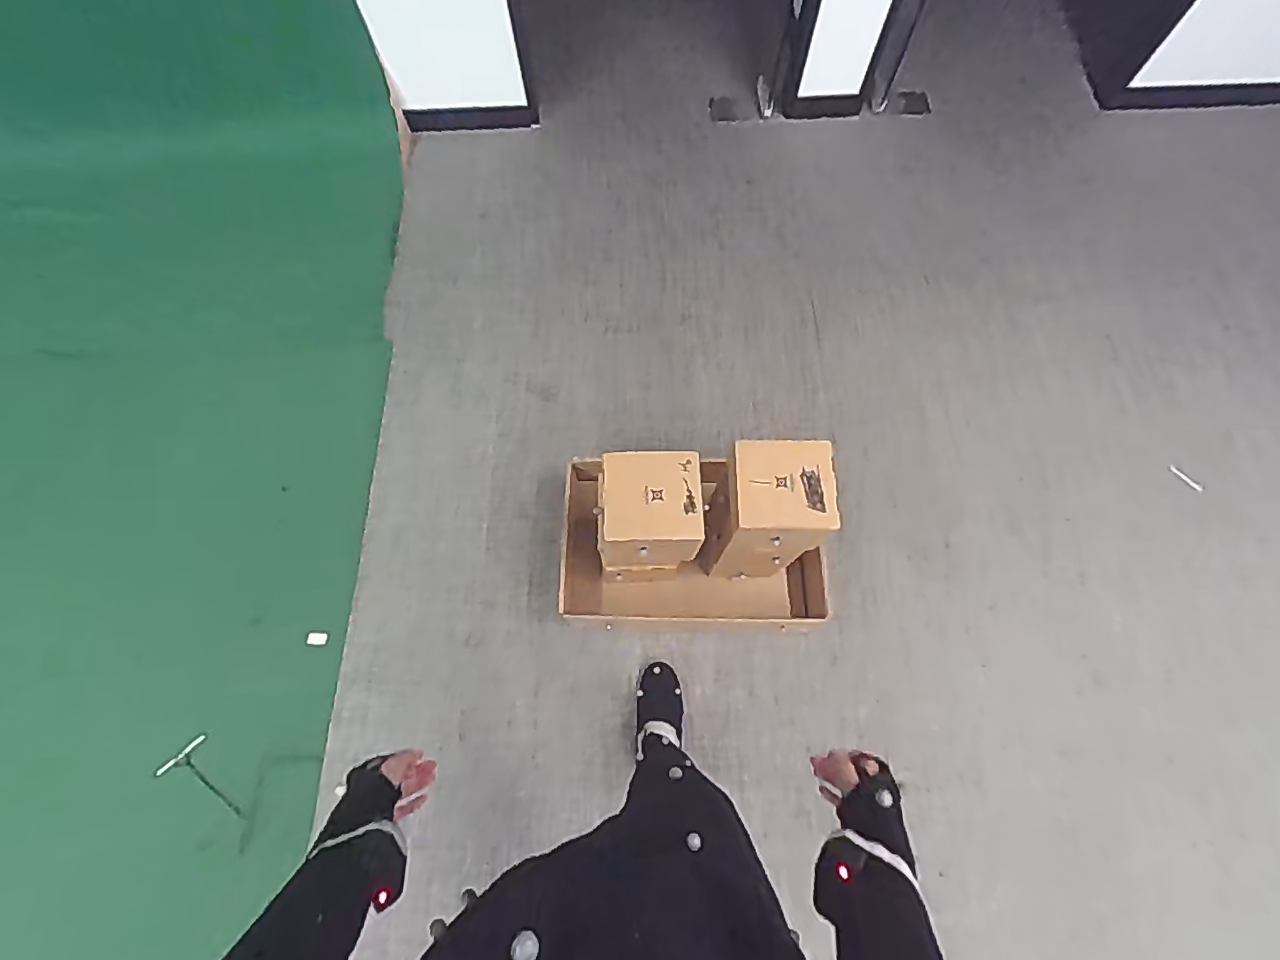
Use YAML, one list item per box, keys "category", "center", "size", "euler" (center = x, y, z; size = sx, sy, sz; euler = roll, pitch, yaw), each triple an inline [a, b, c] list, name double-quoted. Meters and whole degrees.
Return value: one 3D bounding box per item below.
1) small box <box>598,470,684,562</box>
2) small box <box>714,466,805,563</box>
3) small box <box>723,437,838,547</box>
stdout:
- category: "small box"
  center: [0.001, 0.084, 1.183]
  size: [0.179, 0.176, 0.168]
  euler: [-1, 70, -2]
- category: "small box"
  center: [0.254, 0.081, 1.179]
  size: [0.168, 0.176, 0.179]
  euler: [1, 70, 1]
- category: "small box"
  center: [0.257, 0.029, 1.024]
  size: [0.179, 0.176, 0.168]
  euler: [1, 70, 2]
